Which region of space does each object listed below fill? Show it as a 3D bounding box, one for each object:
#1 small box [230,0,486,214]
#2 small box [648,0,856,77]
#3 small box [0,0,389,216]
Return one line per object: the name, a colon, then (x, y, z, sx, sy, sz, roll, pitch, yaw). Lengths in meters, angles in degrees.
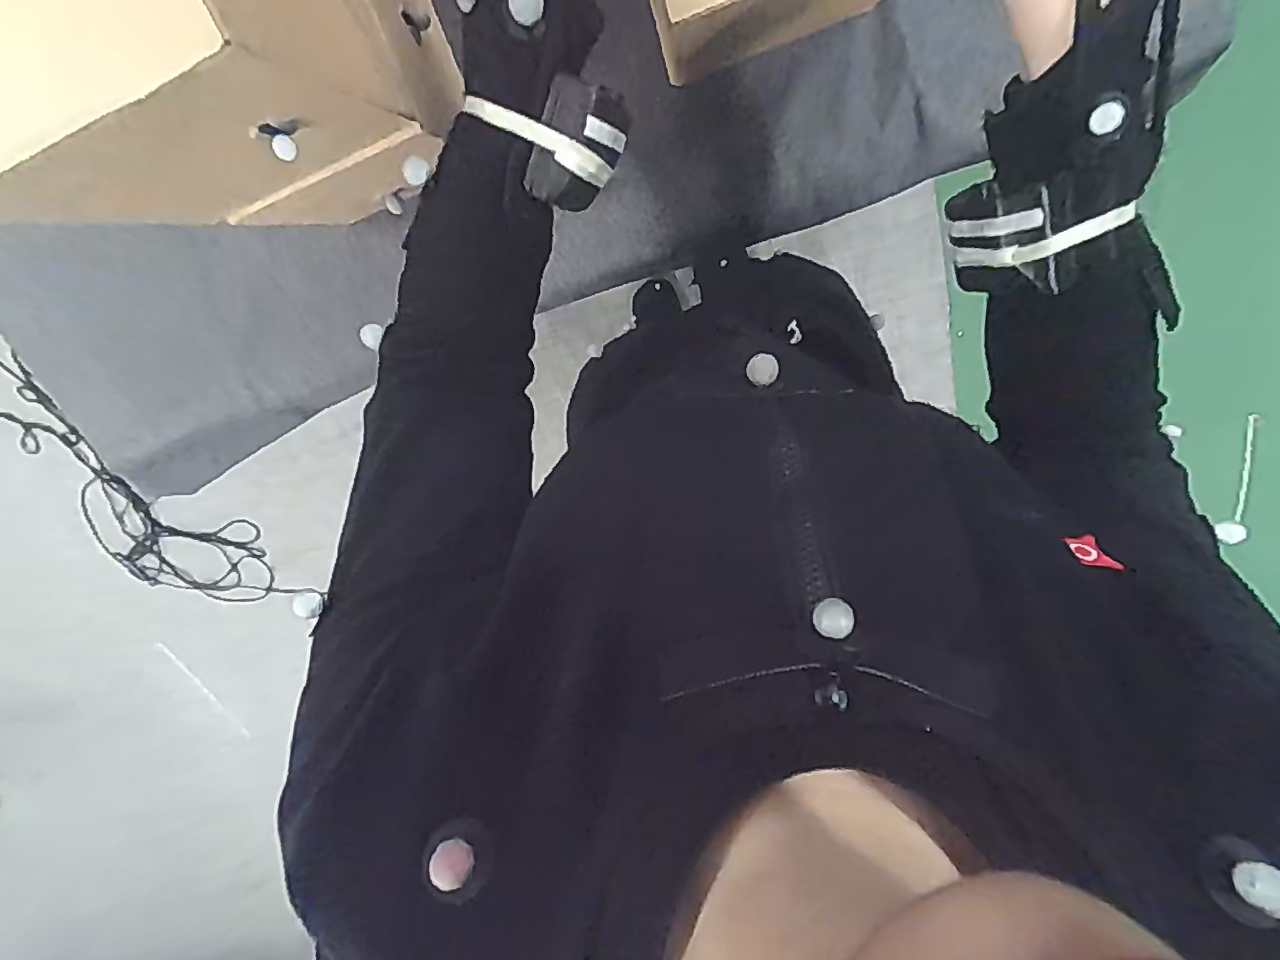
small box: (-0.245, -0.321, 0.414, 0.168, 0.176, 0.179, -17, 114, 11)
small box: (0.077, -0.408, 0.358, 0.179, 0.176, 0.168, -16, 113, 10)
small box: (-0.258, -0.249, 0.269, 0.179, 0.176, 0.168, -18, 112, 12)
